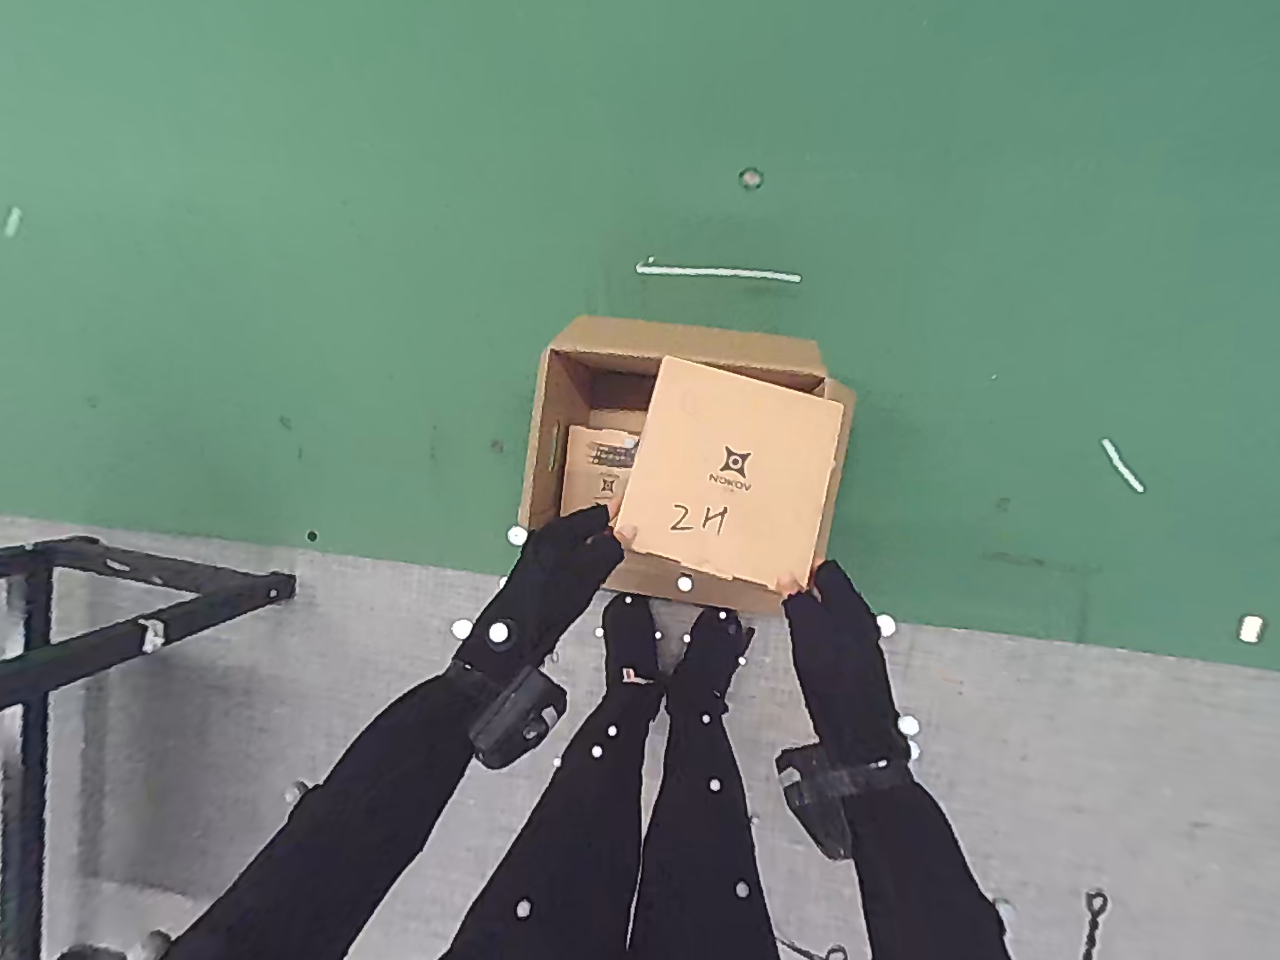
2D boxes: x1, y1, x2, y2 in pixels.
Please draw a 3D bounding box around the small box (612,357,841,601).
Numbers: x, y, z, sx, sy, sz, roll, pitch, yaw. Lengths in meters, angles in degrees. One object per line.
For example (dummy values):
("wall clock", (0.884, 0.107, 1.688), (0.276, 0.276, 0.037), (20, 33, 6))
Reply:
("small box", (0.072, 0.010, 0.536), (0.168, 0.176, 0.179), (17, 79, 0))
